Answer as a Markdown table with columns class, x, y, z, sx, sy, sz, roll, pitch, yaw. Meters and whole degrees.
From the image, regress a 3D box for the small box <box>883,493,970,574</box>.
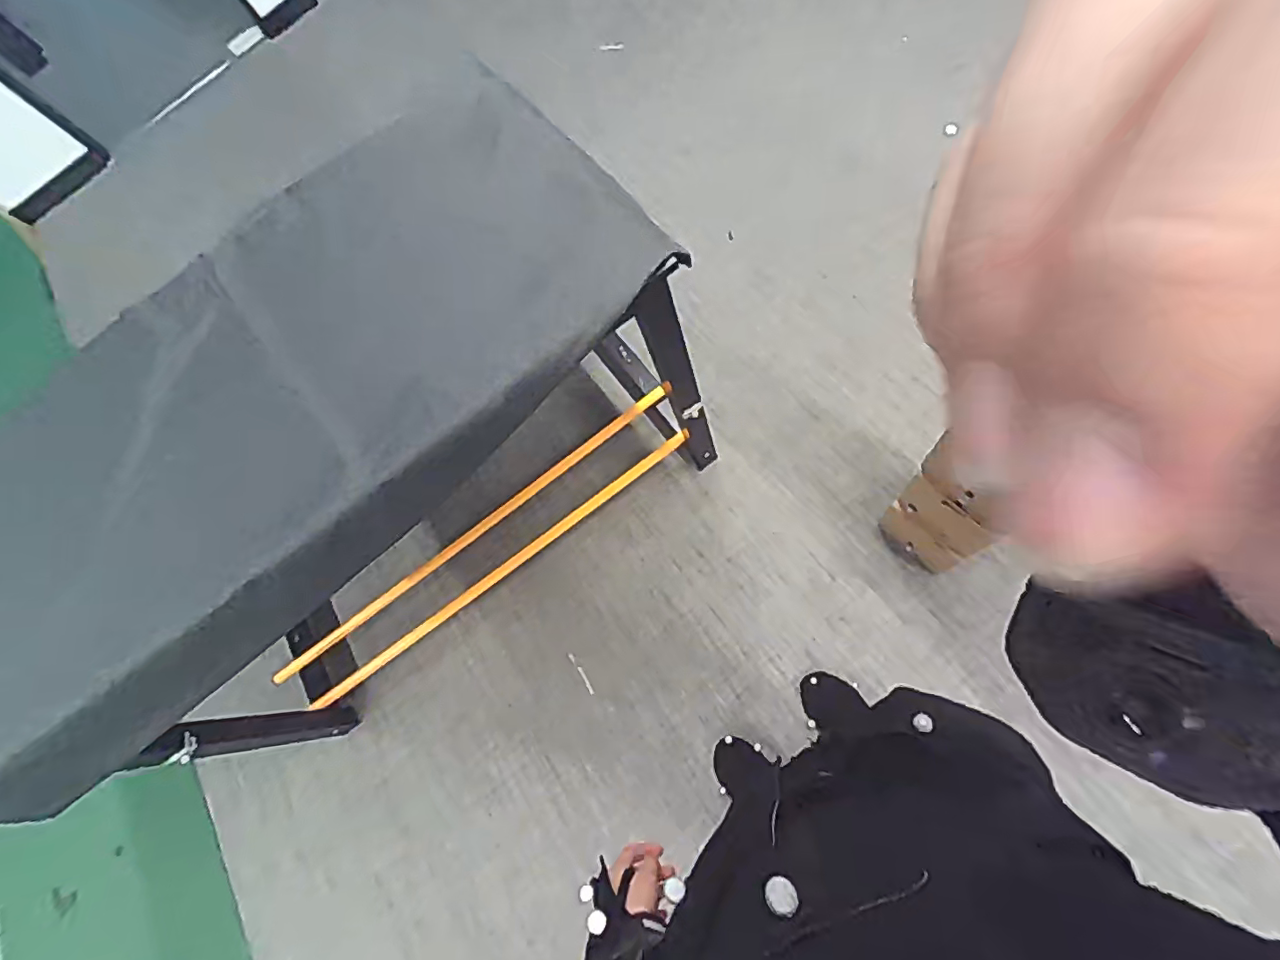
| class | x | y | z | sx | sy | sz | roll | pitch | yaw |
| --- | --- | --- | --- | --- | --- | --- | --- | --- | --- |
| small box | 0.637 | 0.073 | 1.130 | 0.179 | 0.176 | 0.168 | -43 | 67 | -2 |

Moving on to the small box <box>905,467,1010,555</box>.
| class | x | y | z | sx | sy | sz | roll | pitch | yaw |
| --- | --- | --- | --- | --- | --- | --- | --- | --- | --- |
| small box | 0.610 | 0.014 | 0.979 | 0.179 | 0.176 | 0.168 | -41 | 68 | -4 |

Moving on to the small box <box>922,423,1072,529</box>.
| class | x | y | z | sx | sy | sz | roll | pitch | yaw |
| --- | --- | --- | --- | --- | --- | --- | --- | --- | --- |
| small box | 0.576 | -0.041 | 0.828 | 0.168 | 0.176 | 0.179 | -41 | 68 | -3 |
